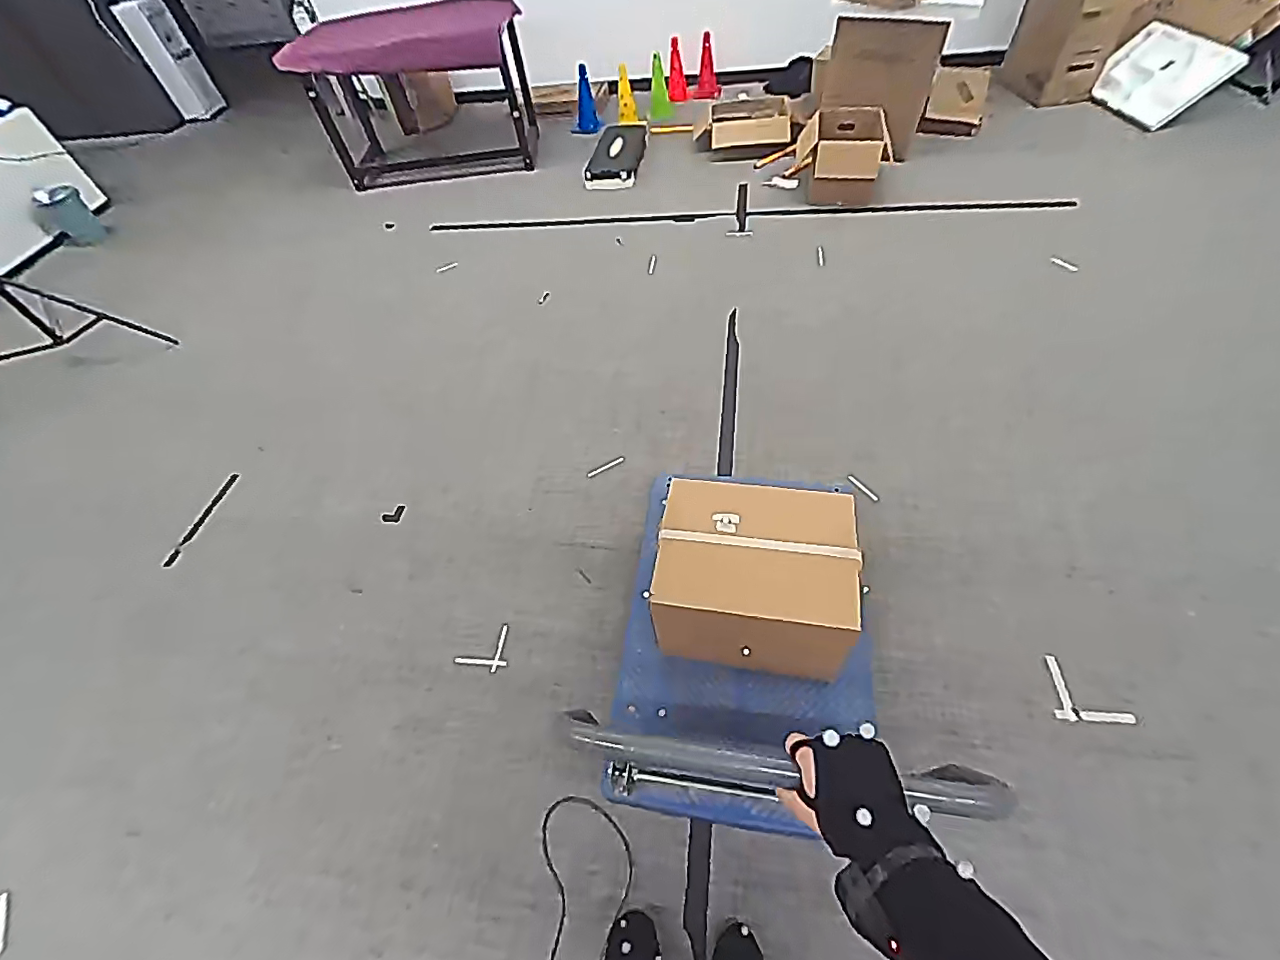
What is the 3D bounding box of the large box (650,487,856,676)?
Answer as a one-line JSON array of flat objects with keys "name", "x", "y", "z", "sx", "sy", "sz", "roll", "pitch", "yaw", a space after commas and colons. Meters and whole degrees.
[{"name": "large box", "x": 0.258, "y": 0.238, "z": 1.258, "sx": 0.408, "sy": 0.320, "sz": 0.320, "roll": 4, "pitch": 53, "yaw": 11}]
